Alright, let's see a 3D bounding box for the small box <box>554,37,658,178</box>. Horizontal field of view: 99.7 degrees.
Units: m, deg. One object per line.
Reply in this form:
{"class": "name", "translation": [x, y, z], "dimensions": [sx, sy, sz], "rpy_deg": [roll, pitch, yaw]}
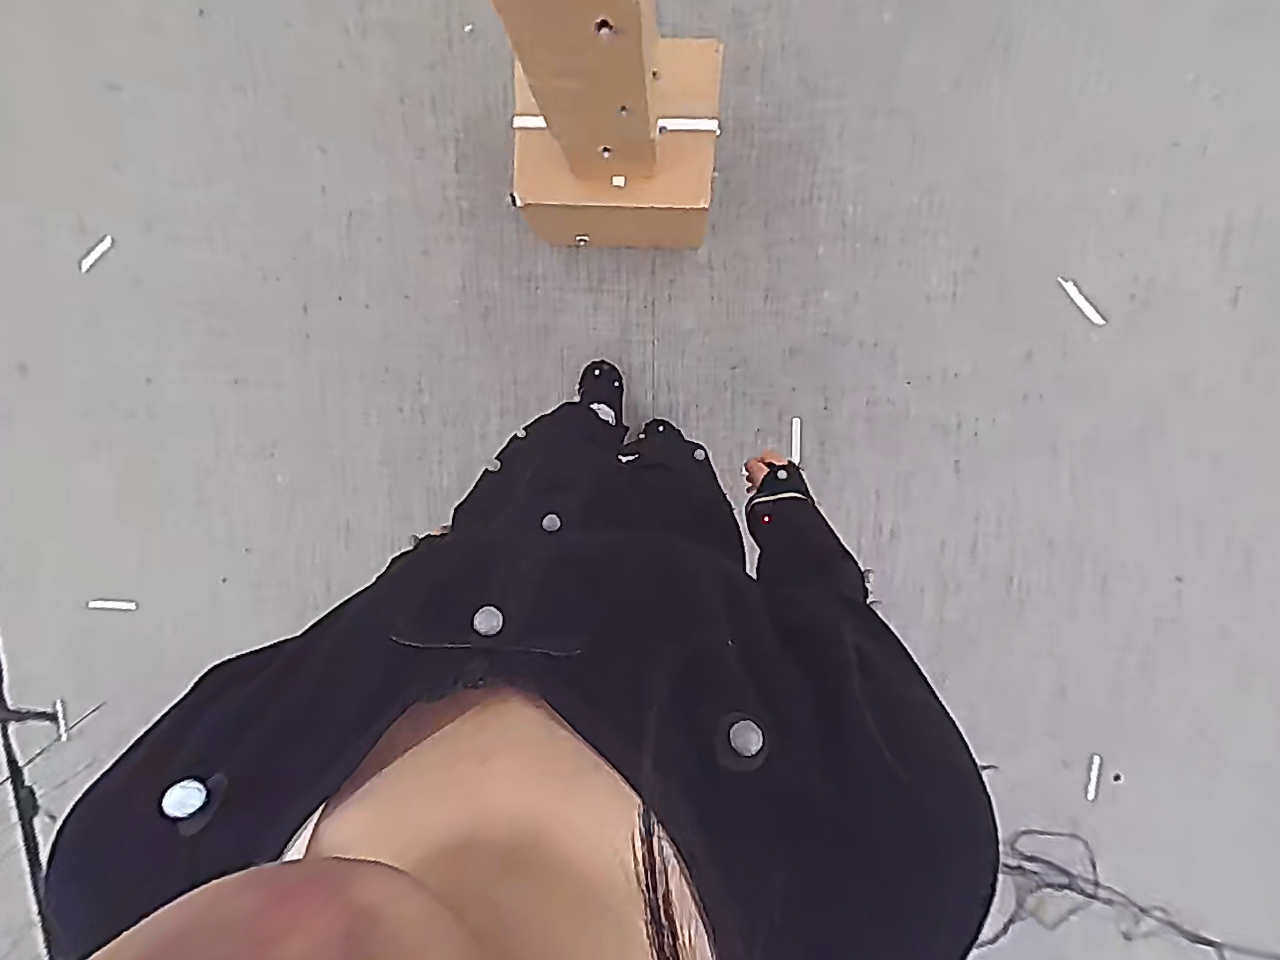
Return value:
{"class": "small box", "translation": [-0.057, -0.679, 1.004], "dimensions": [0.179, 0.176, 0.168], "rpy_deg": [0, 100, 2]}

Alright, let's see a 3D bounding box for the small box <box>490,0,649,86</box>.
{"class": "small box", "translation": [-0.077, -0.631, 0.680], "dimensions": [0.179, 0.176, 0.168], "rpy_deg": [4, 99, 2]}

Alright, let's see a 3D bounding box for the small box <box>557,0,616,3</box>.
{"class": "small box", "translation": [-0.085, -0.607, 0.520], "dimensions": [0.179, 0.176, 0.168], "rpy_deg": [5, 100, 3]}
